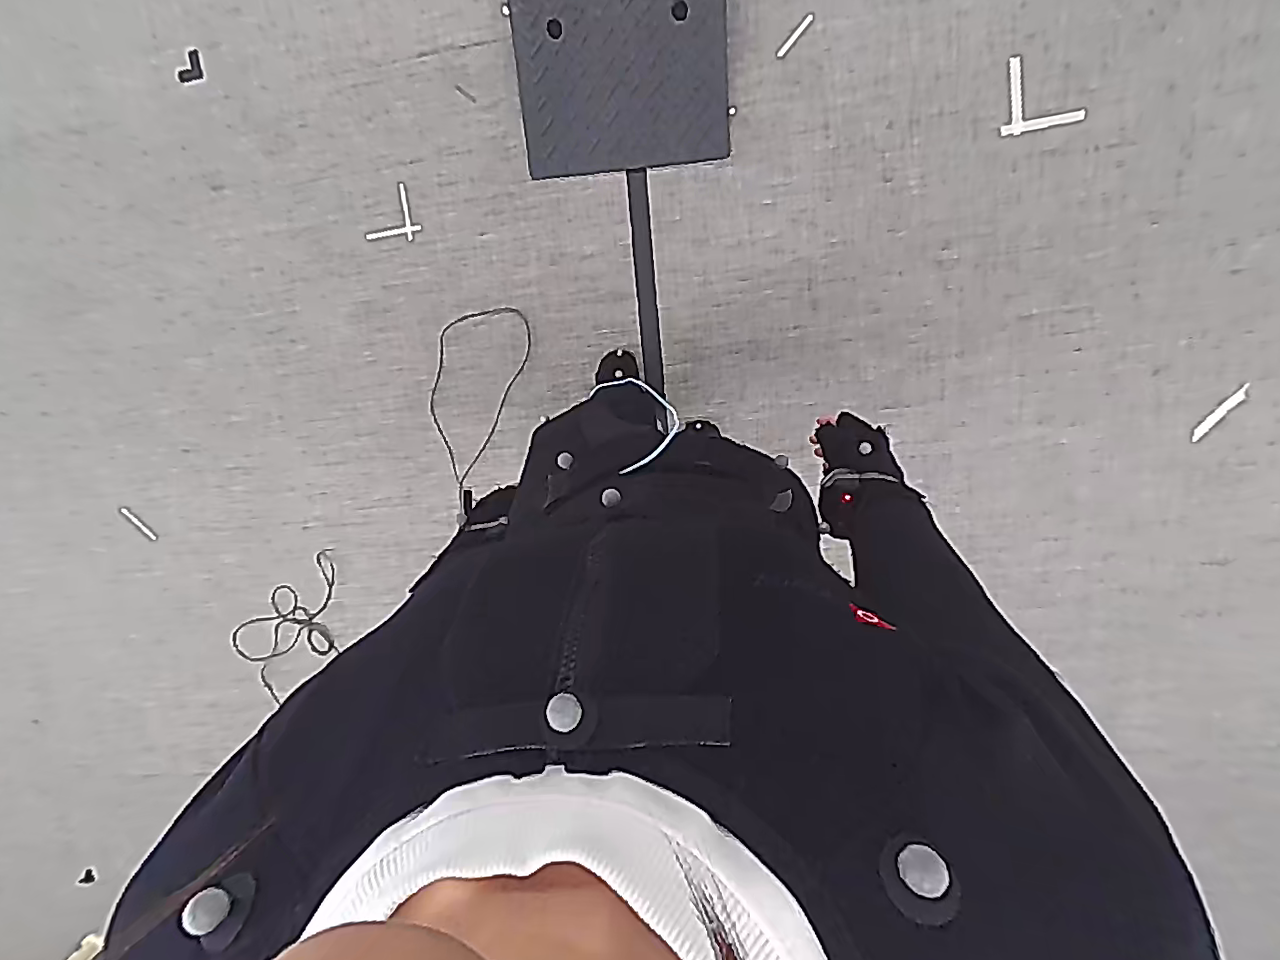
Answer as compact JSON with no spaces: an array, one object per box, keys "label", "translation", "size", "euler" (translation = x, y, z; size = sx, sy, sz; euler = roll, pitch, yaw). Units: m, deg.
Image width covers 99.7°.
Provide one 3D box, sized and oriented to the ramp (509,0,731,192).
[{"label":"ramp","translation":[-0.070,-1.215,1.181],"size":[0.509,0.206,0.991],"euler":[-6,99,7]}]
